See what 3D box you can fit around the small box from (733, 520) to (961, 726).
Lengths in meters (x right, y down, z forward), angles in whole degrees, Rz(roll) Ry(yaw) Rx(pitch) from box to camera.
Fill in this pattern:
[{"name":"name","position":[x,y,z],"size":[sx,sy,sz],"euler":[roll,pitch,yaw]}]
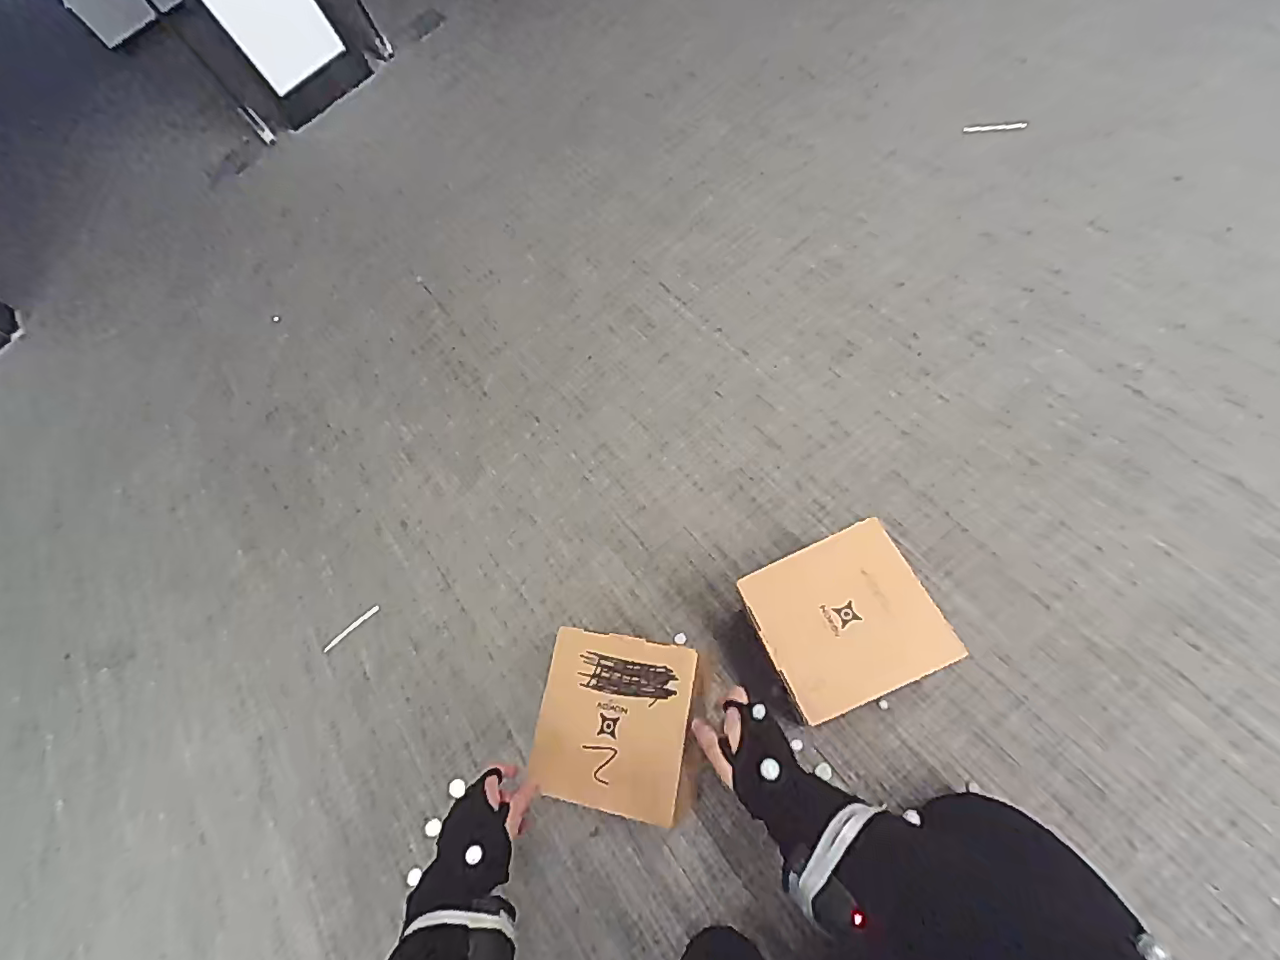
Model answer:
[{"name":"small box","position":[0.228,0.177,0.638],"size":[0.179,0.176,0.168],"euler":[-25,63,1]}]
